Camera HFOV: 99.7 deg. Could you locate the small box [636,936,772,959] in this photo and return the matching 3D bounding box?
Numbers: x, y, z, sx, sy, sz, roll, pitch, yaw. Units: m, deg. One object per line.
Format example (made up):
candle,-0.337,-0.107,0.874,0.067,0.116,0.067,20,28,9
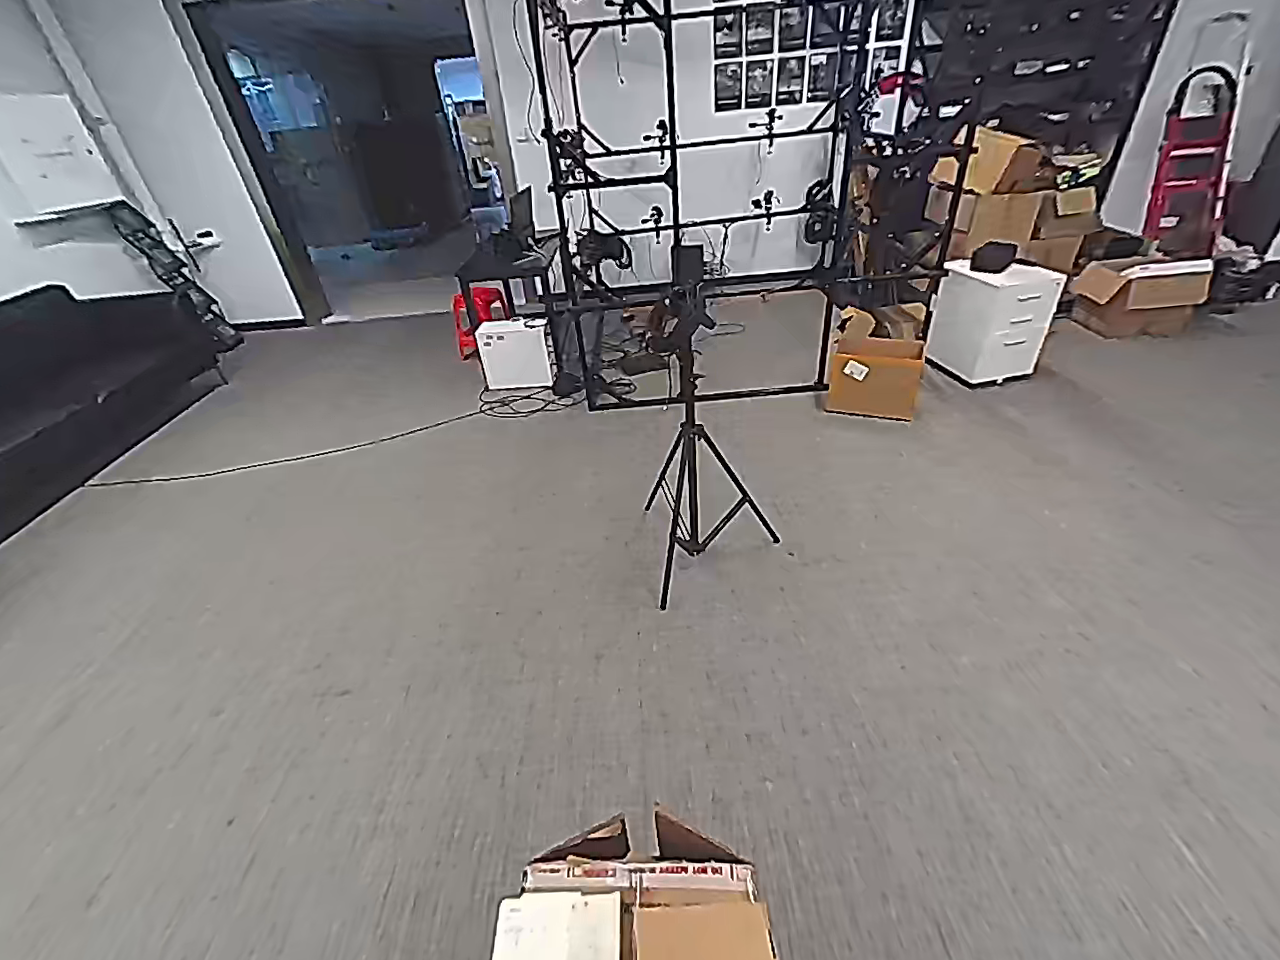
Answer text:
small box,0.088,0.713,0.688,0.179,0.176,0.168,-5,36,0
